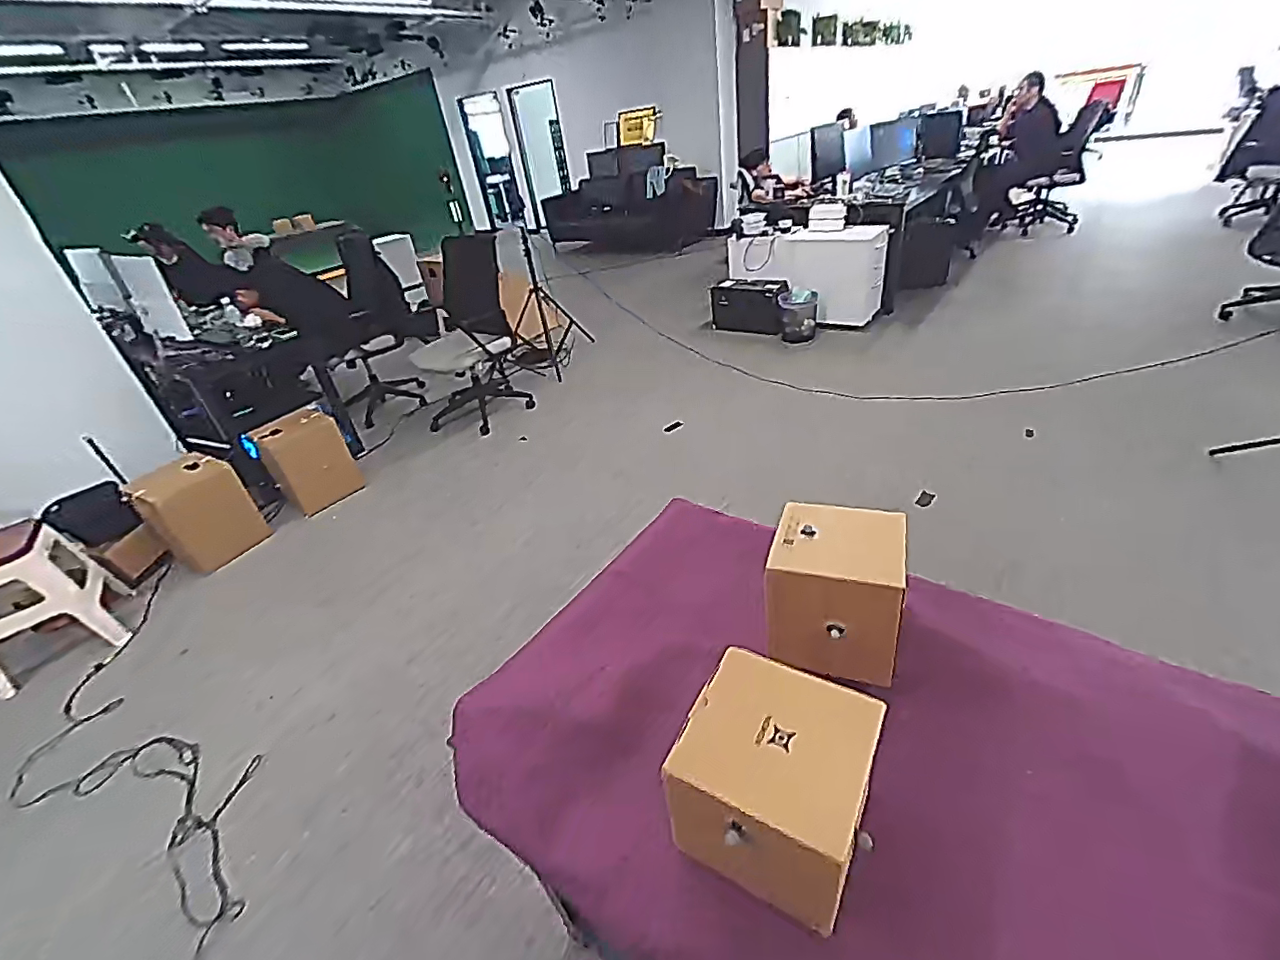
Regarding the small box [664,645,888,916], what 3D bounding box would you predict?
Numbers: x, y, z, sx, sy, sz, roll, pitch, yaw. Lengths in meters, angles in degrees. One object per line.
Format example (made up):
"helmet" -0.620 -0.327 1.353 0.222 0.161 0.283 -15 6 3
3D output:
"small box" 0.148 0.317 0.579 0.179 0.176 0.168 12 39 30
